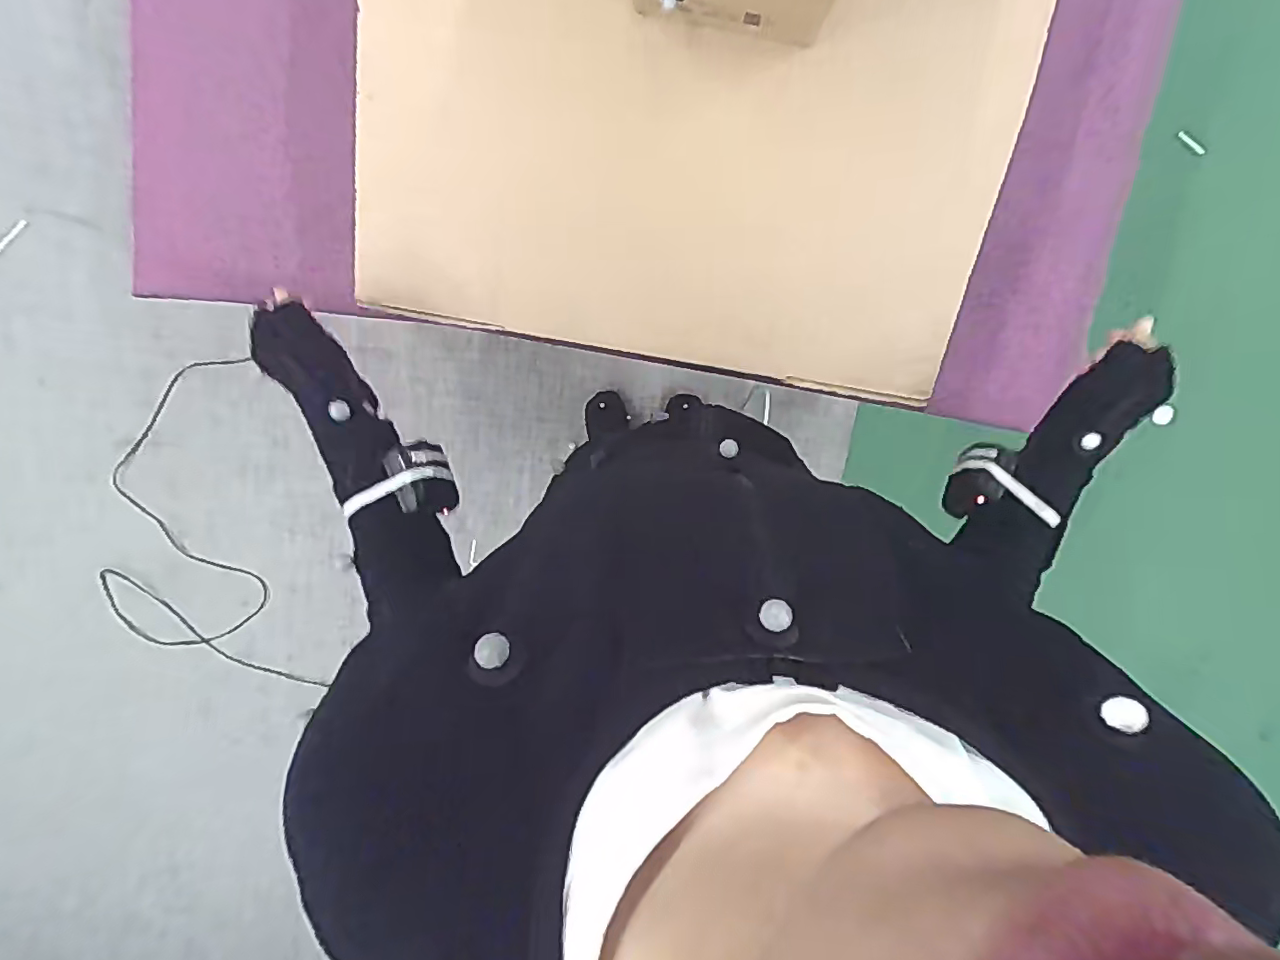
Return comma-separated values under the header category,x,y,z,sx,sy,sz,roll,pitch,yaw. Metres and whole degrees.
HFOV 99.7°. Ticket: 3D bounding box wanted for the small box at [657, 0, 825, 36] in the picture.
category,x,y,z,sx,sy,sz,roll,pitch,yaw
small box,0.086,-0.475,0.390,0.168,0.176,0.179,9,98,-2
